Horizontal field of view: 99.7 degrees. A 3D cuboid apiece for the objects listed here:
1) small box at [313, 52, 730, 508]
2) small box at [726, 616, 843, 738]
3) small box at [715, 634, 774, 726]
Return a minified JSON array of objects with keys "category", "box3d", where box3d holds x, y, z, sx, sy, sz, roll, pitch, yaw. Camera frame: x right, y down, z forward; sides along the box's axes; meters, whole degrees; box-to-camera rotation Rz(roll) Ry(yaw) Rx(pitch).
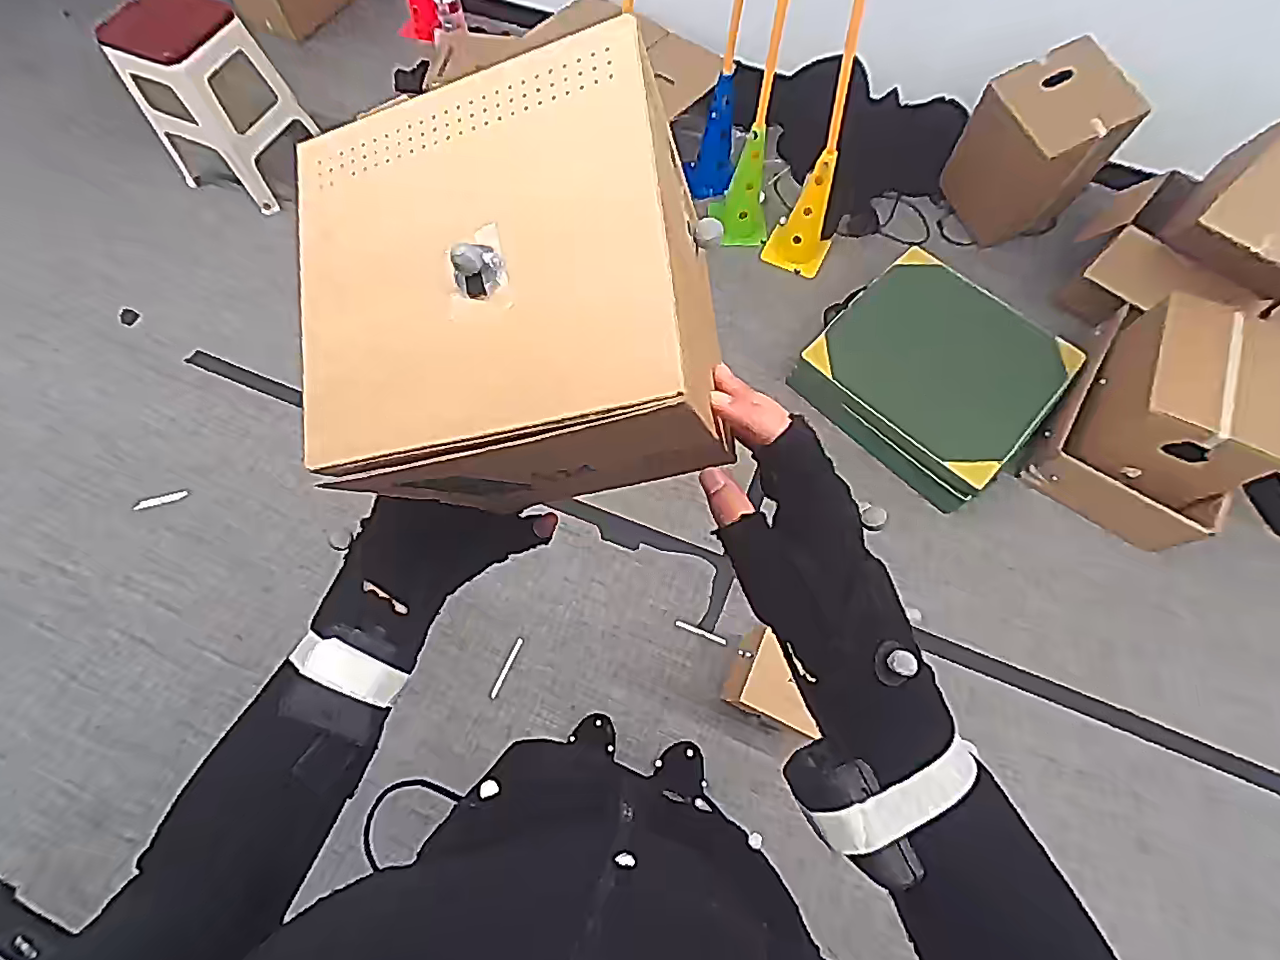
[{"category":"small box","box3d":[-0.053,-0.085,0.312,0.179,0.168,0.176,-10,81,14]},{"category":"small box","box3d":[0.290,0.407,1.123,0.168,0.176,0.179,25,70,10]},{"category":"small box","box3d":[0.297,0.469,1.274,0.179,0.176,0.168,26,69,7]}]
